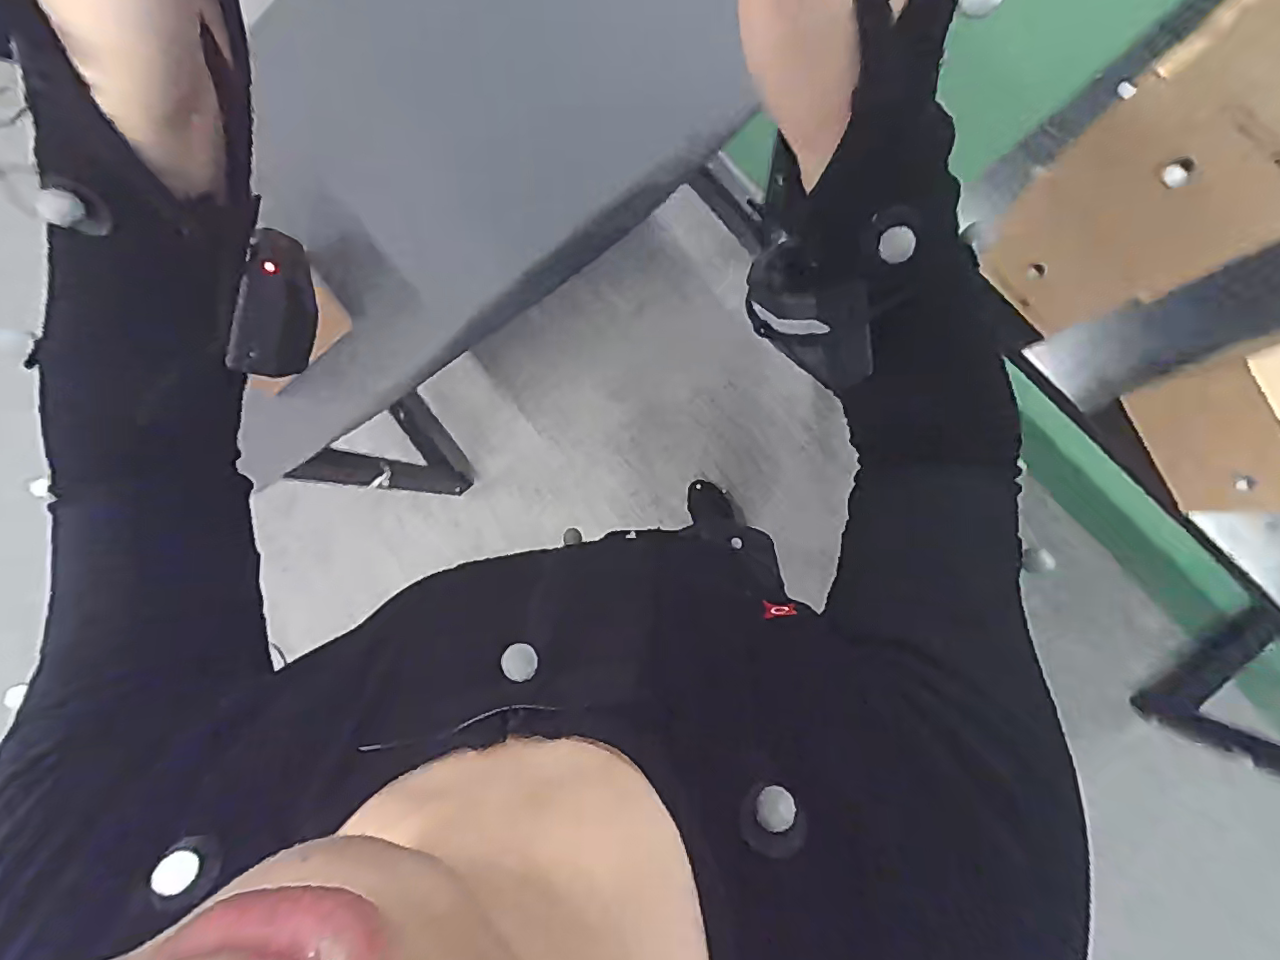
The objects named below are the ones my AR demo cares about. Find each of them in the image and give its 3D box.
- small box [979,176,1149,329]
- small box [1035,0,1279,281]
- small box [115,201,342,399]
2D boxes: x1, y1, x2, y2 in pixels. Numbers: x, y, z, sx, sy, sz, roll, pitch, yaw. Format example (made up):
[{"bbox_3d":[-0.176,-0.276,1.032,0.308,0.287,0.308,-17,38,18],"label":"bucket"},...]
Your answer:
[{"bbox_3d":[0.559,-0.317,0.661,0.179,0.176,0.168,-41,84,2],"label":"small box"},{"bbox_3d":[0.534,-0.313,0.500,0.168,0.176,0.179,-41,83,2],"label":"small box"},{"bbox_3d":[-0.569,-0.245,0.778,0.179,0.176,0.168,-41,80,2],"label":"small box"}]
